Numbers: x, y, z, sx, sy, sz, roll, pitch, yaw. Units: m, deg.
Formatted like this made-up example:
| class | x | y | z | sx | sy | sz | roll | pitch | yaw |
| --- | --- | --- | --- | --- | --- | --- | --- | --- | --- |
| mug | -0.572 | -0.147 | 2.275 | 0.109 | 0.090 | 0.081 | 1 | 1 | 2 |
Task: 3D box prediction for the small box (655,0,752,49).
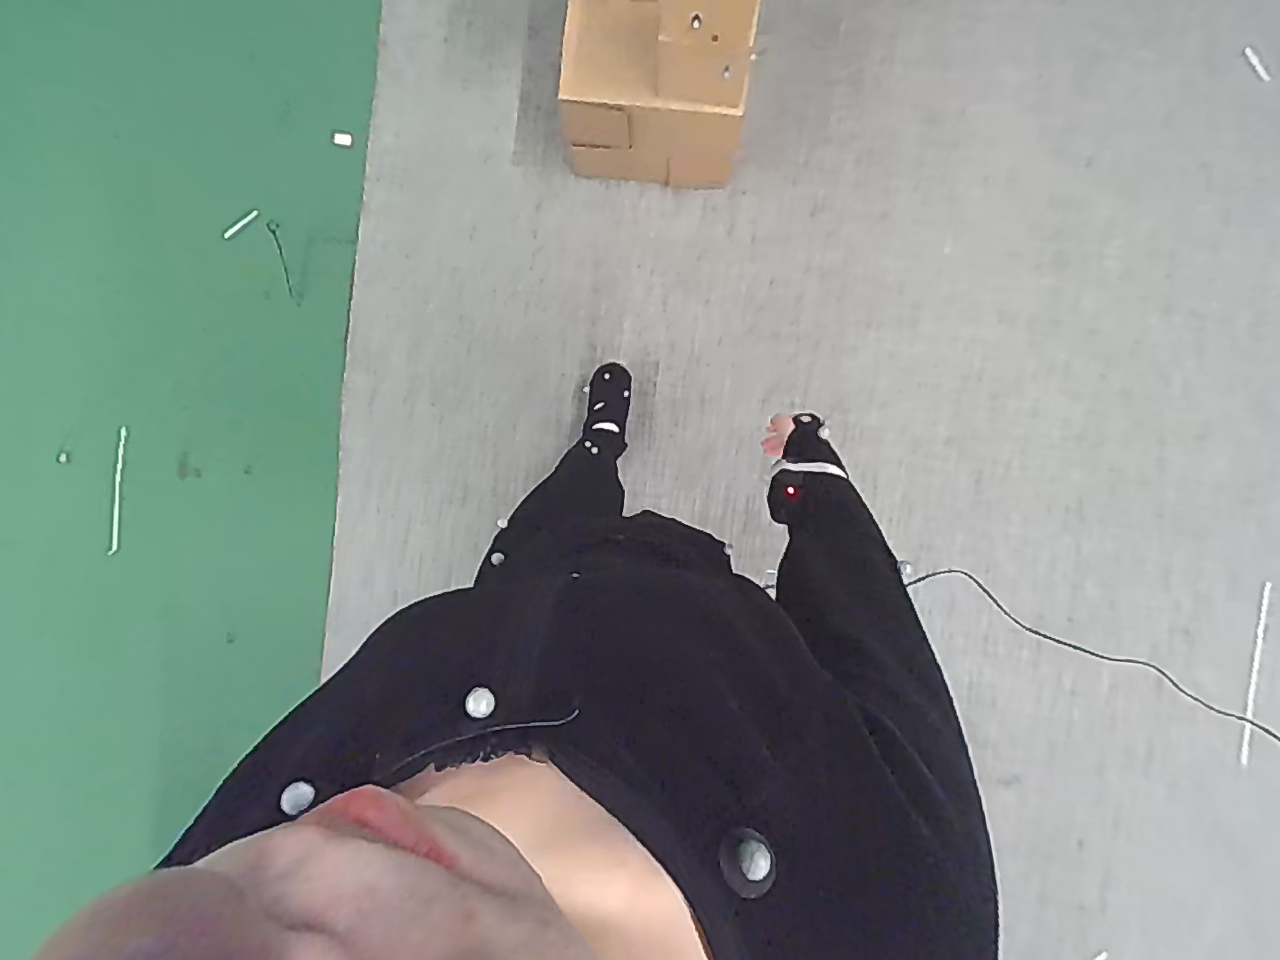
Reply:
| class | x | y | z | sx | sy | sz | roll | pitch | yaw |
| --- | --- | --- | --- | --- | --- | --- | --- | --- | --- |
| small box | 0.118 | -0.876 | 0.896 | 0.168 | 0.176 | 0.179 | 11 | 92 | 1 |
